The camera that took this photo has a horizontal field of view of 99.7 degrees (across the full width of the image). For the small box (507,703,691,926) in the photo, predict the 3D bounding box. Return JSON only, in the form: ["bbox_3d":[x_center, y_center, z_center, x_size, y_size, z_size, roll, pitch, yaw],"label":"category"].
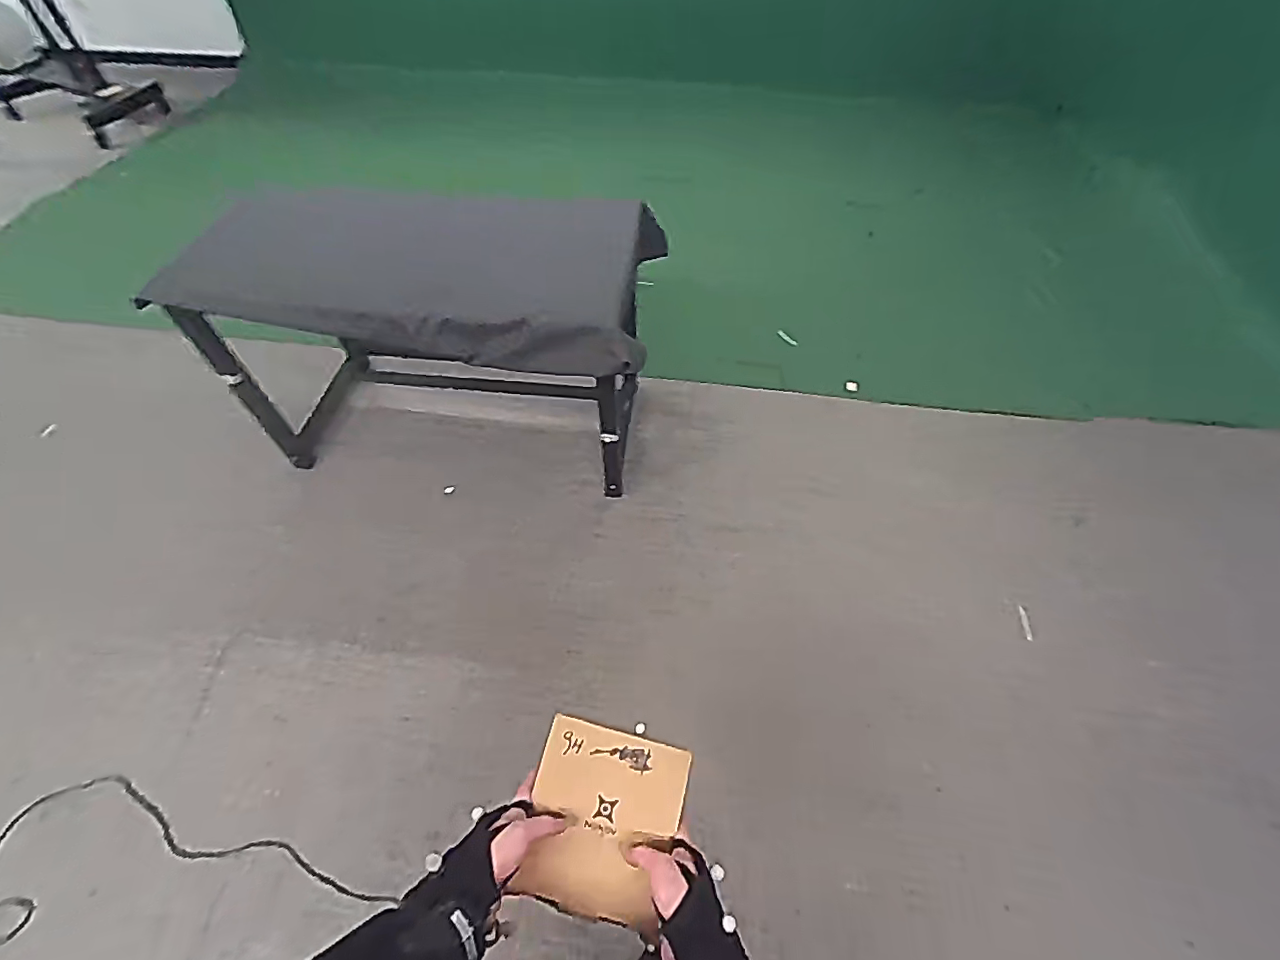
[{"bbox_3d":[-0.042,0.384,0.656,0.168,0.176,0.179,14,69,3],"label":"small box"}]
